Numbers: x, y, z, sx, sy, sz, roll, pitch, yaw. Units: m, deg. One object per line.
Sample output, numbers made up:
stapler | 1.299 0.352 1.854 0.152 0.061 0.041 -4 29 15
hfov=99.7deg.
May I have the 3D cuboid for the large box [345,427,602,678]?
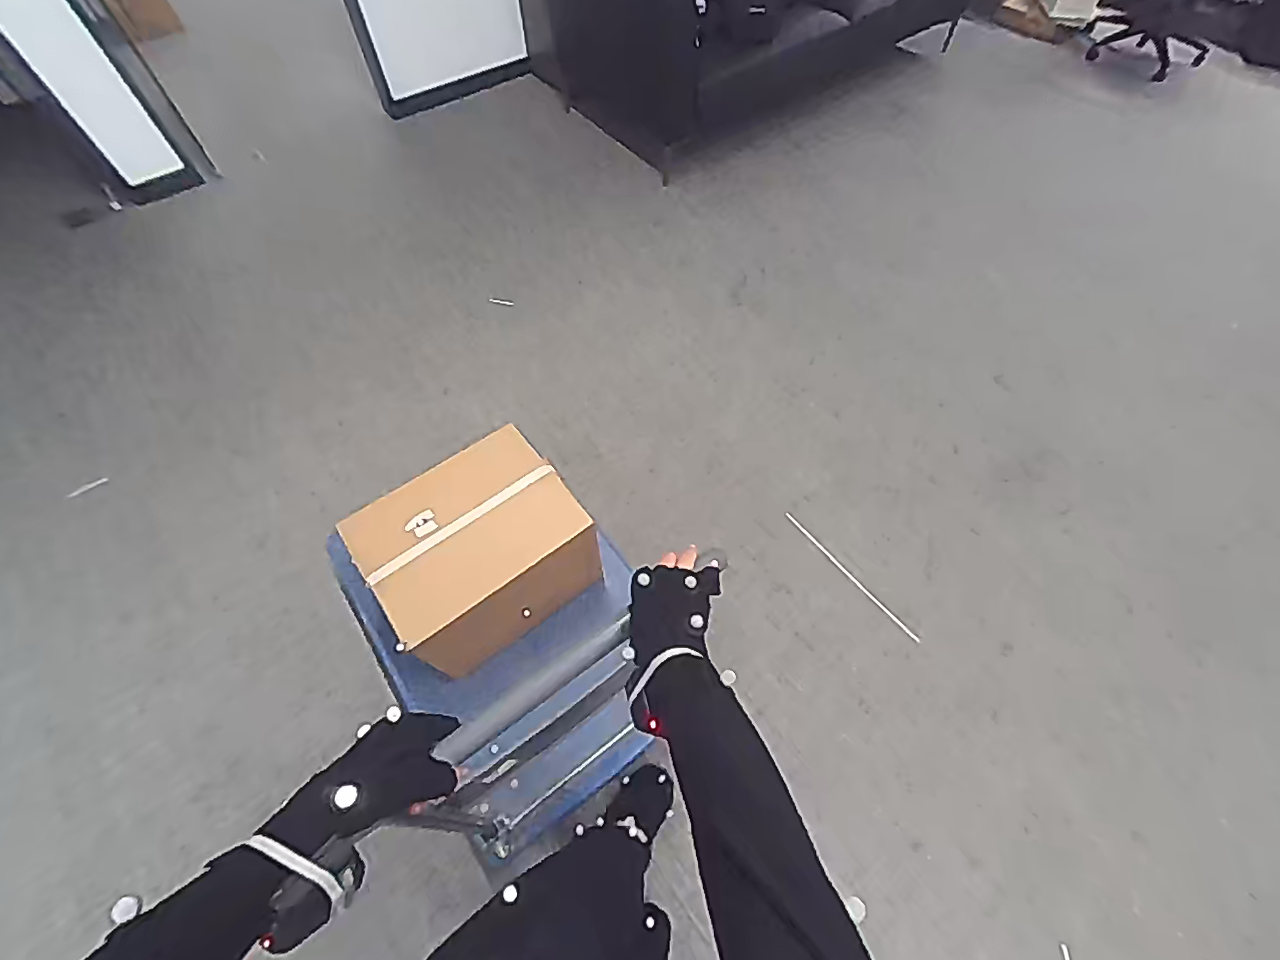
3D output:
large box | -0.335 0.165 1.195 0.408 0.320 0.320 -35 66 -18
